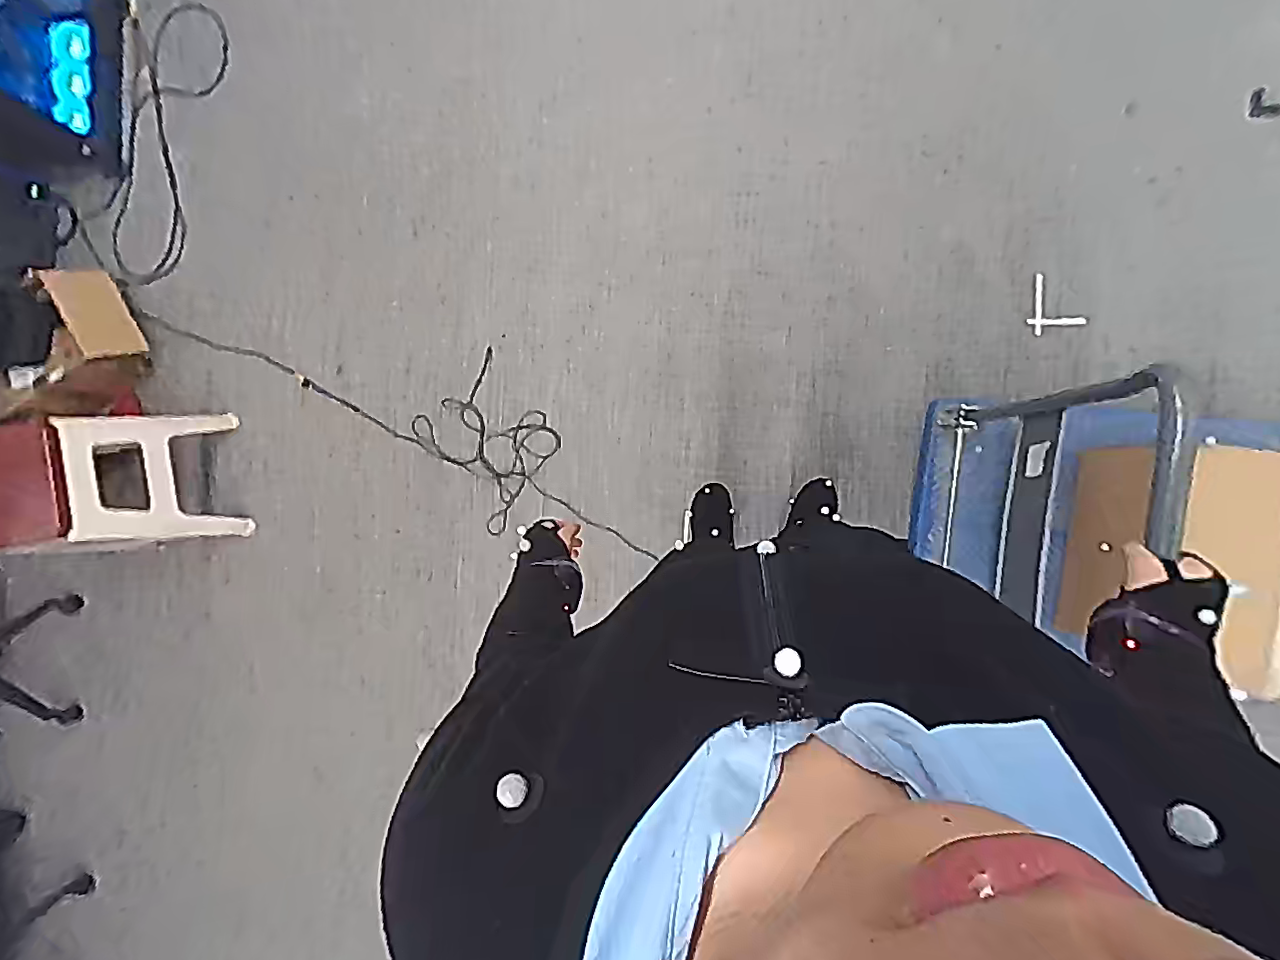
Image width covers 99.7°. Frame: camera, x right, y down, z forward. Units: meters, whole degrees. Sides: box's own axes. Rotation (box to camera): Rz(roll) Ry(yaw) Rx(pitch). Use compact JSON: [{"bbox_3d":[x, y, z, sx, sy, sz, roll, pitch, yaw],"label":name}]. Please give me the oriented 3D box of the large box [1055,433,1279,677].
[{"bbox_3d":[1.079,0.133,1.055,0.320,0.320,0.408,6,91,8],"label":"large box"}]
